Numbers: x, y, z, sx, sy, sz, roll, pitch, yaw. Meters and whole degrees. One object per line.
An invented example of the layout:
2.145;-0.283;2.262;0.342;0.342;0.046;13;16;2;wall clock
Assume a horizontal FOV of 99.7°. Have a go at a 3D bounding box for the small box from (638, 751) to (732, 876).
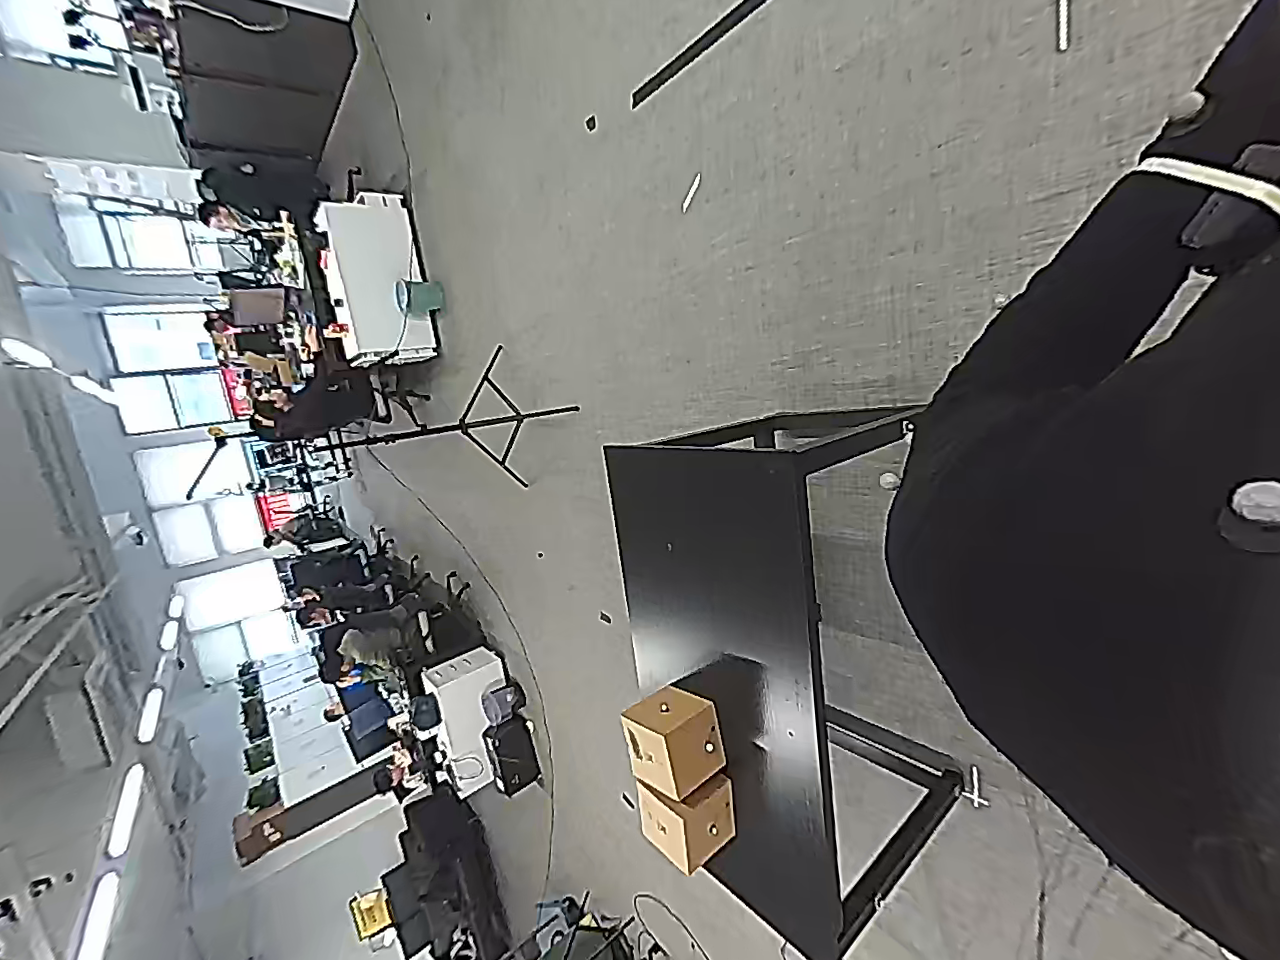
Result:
0.119;0.823;1.357;0.179;0.176;0.168;10;109;51;small box
